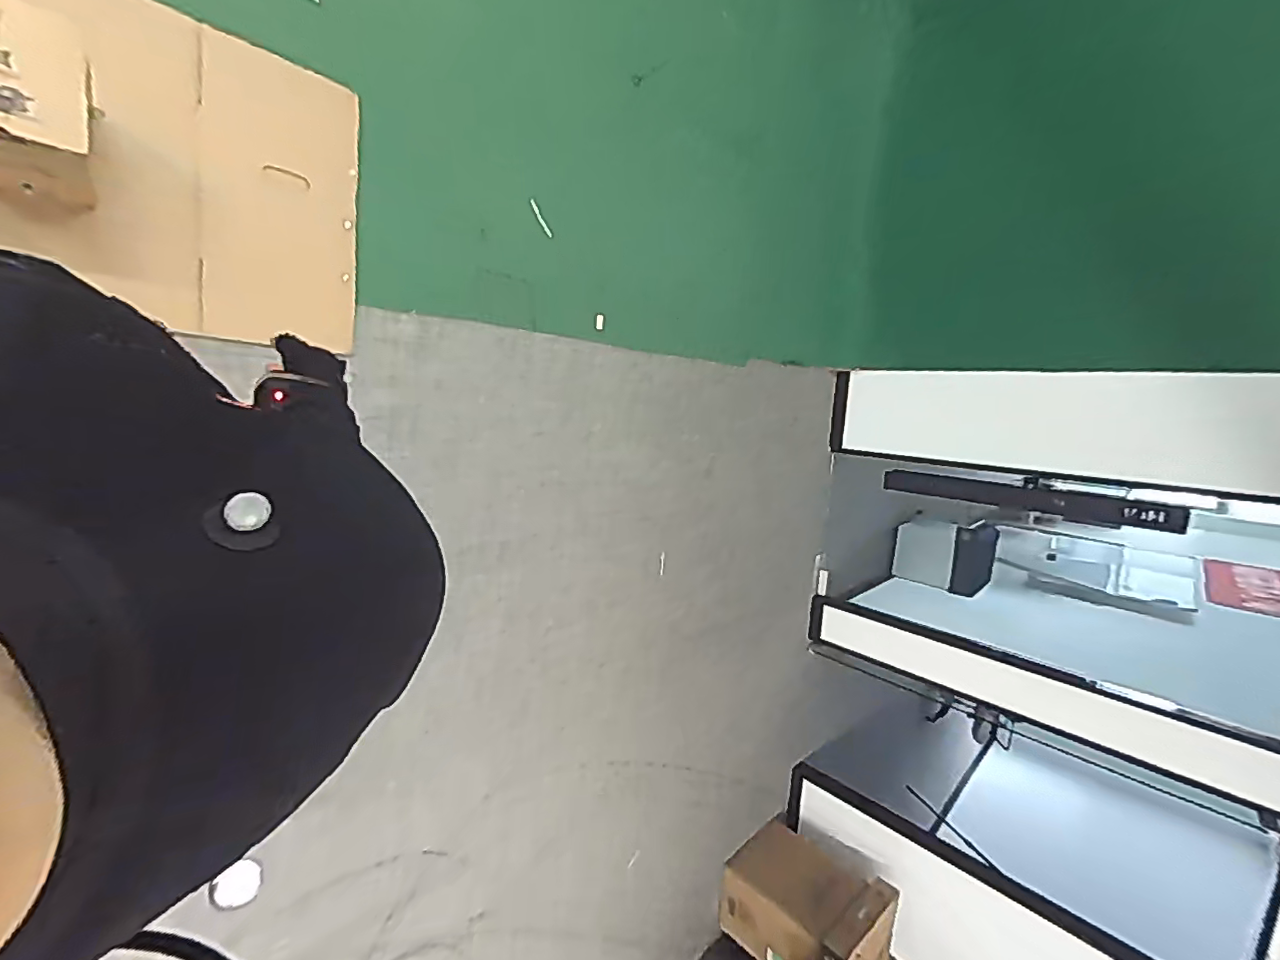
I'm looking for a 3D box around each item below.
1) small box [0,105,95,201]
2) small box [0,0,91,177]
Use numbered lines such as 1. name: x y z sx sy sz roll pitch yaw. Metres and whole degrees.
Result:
1. small box: -1.003 -0.581 0.873 0.168 0.176 0.179 -3 101 -43
2. small box: -0.890 -0.557 0.757 0.168 0.176 0.179 -1 99 -44
